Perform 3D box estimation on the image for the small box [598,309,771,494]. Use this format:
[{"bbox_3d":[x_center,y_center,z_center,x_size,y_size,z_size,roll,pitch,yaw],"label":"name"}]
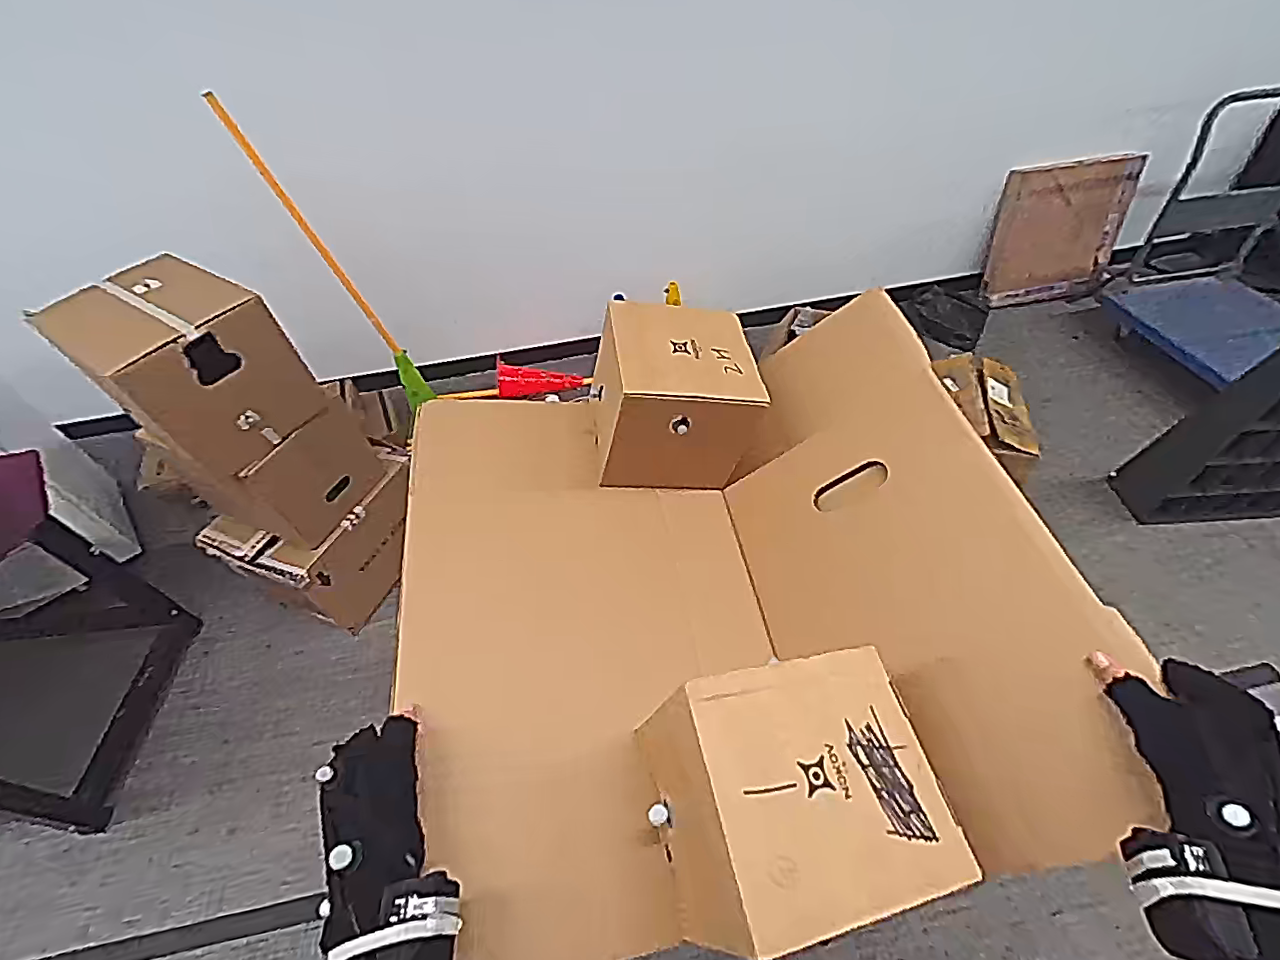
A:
[{"bbox_3d":[0.041,-0.095,0.702,0.179,0.176,0.168,3,53,-14],"label":"small box"}]
